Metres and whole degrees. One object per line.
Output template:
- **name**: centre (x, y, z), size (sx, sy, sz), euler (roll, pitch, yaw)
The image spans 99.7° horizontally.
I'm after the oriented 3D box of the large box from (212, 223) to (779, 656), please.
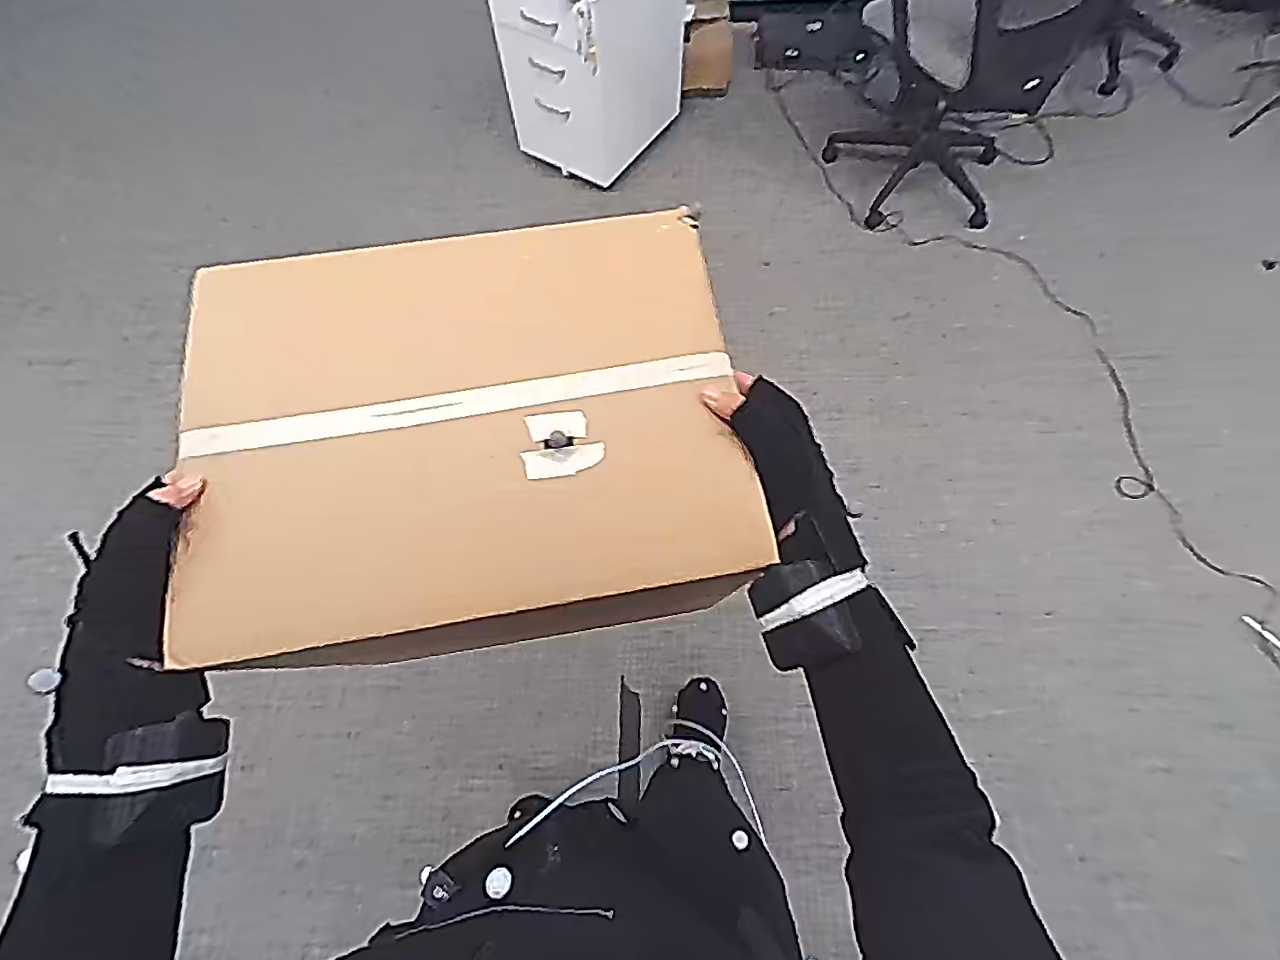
- **large box**: centre (-0.122, -0.010, 0.562), size (0.408, 0.320, 0.320), euler (-8, 73, -4)
